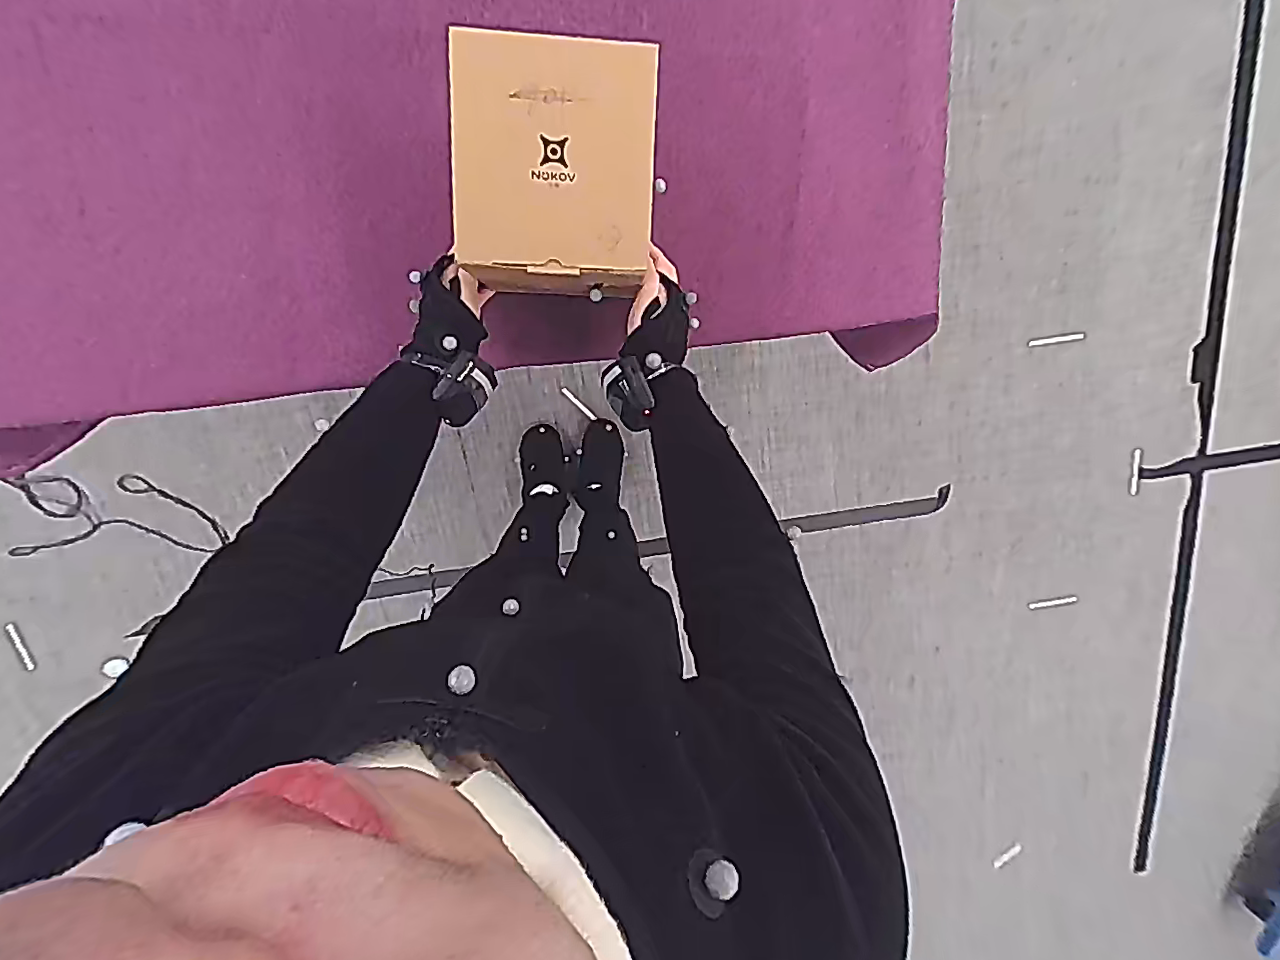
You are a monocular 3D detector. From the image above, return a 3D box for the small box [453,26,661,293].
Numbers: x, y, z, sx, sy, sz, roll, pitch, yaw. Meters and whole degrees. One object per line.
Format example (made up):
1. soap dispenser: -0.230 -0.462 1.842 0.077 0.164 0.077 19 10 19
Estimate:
1. small box: -0.074 -0.281 0.519 0.168 0.176 0.179 2 103 -5
